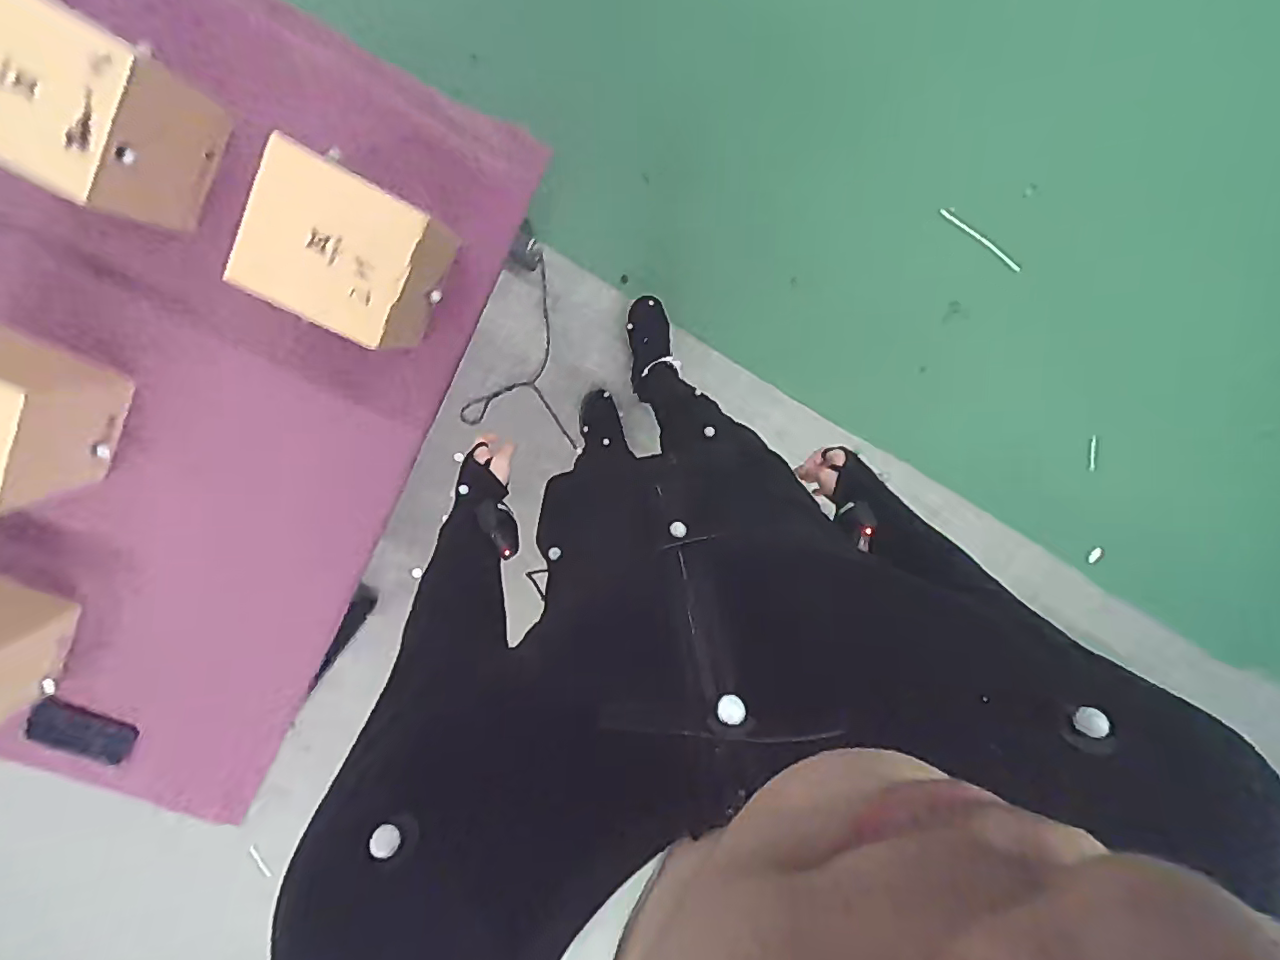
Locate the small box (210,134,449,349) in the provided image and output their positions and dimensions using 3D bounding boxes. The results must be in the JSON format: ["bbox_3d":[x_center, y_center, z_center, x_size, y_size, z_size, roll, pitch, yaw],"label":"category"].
[{"bbox_3d":[-0.365,-0.275,0.669,0.179,0.176,0.168,25,101,-12],"label":"small box"}]

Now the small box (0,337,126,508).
[{"bbox_3d":[-0.818,-0.075,0.673,0.179,0.176,0.168,25,101,-12],"label":"small box"}]

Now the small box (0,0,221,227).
[{"bbox_3d":[-0.636,-0.412,0.608,0.179,0.176,0.168,27,100,-12],"label":"small box"}]

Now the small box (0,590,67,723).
[{"bbox_3d":[-0.962,0.255,0.737,0.179,0.176,0.168,26,99,-11],"label":"small box"}]
